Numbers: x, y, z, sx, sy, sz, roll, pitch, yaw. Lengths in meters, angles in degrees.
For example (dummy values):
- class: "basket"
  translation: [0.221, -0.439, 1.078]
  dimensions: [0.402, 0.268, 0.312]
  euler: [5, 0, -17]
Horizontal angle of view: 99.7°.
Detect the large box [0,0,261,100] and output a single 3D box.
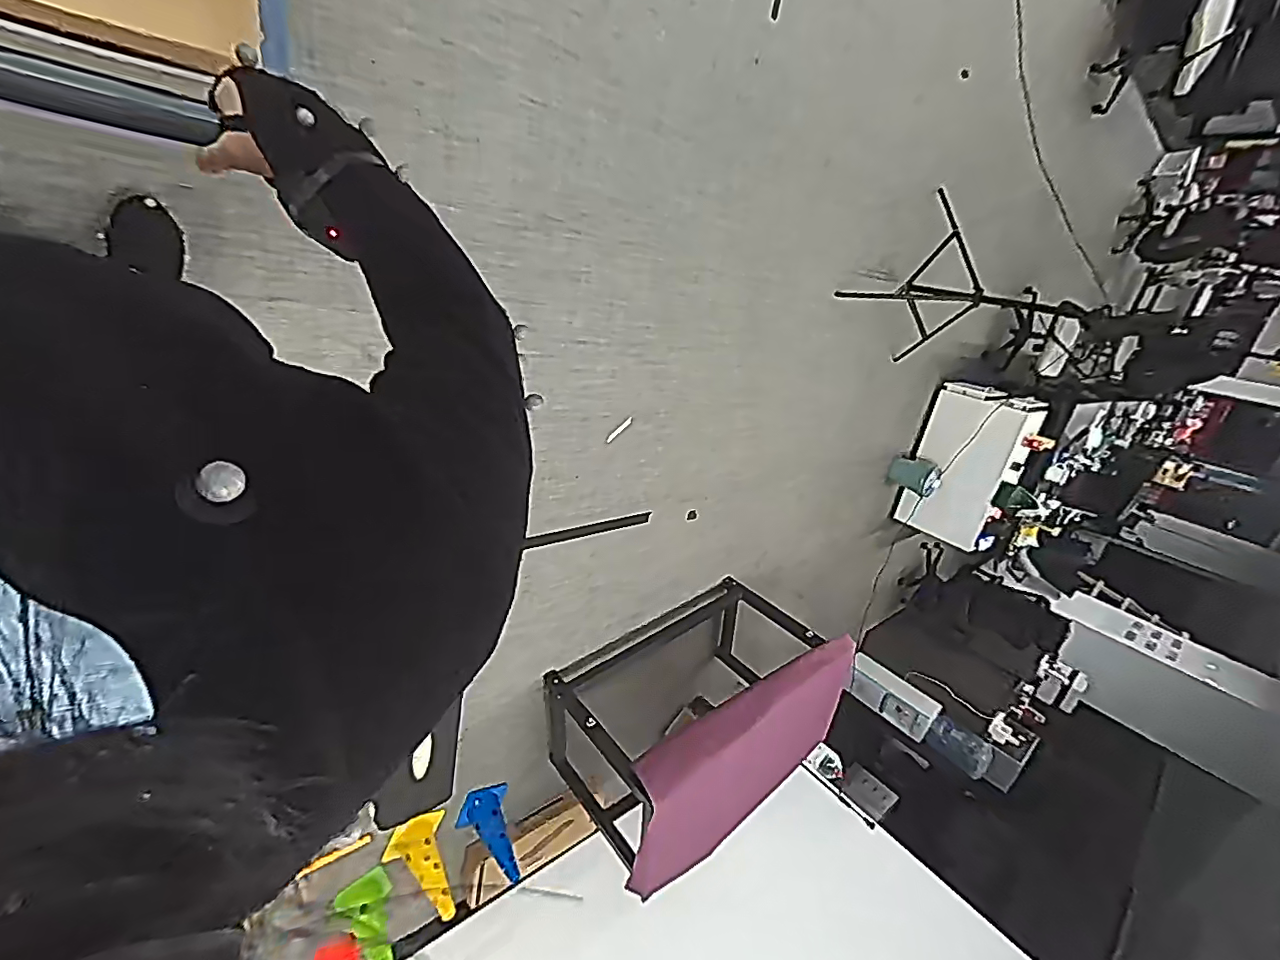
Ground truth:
- class: "large box"
  translation: [-0.738, -0.712, 0.654]
  dimensions: [0.408, 0.320, 0.320]
  euler: [-9, 119, -41]
